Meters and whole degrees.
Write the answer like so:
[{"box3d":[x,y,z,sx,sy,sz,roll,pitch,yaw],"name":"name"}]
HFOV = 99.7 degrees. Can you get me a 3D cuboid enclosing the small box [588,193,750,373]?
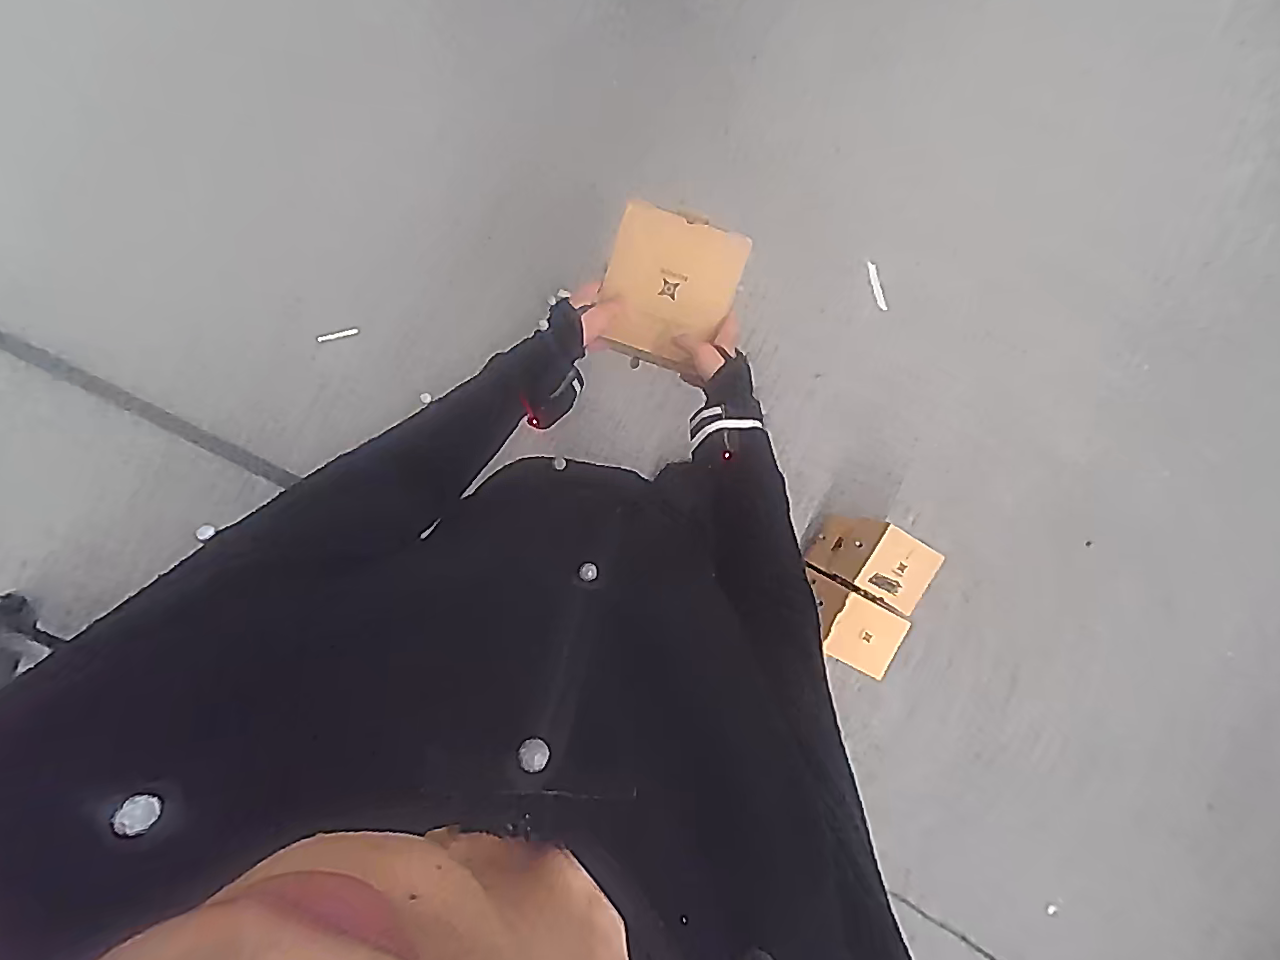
[{"box3d":[0.035,-0.260,0.759,0.168,0.176,0.179,17,98,-2],"name":"small box"}]
